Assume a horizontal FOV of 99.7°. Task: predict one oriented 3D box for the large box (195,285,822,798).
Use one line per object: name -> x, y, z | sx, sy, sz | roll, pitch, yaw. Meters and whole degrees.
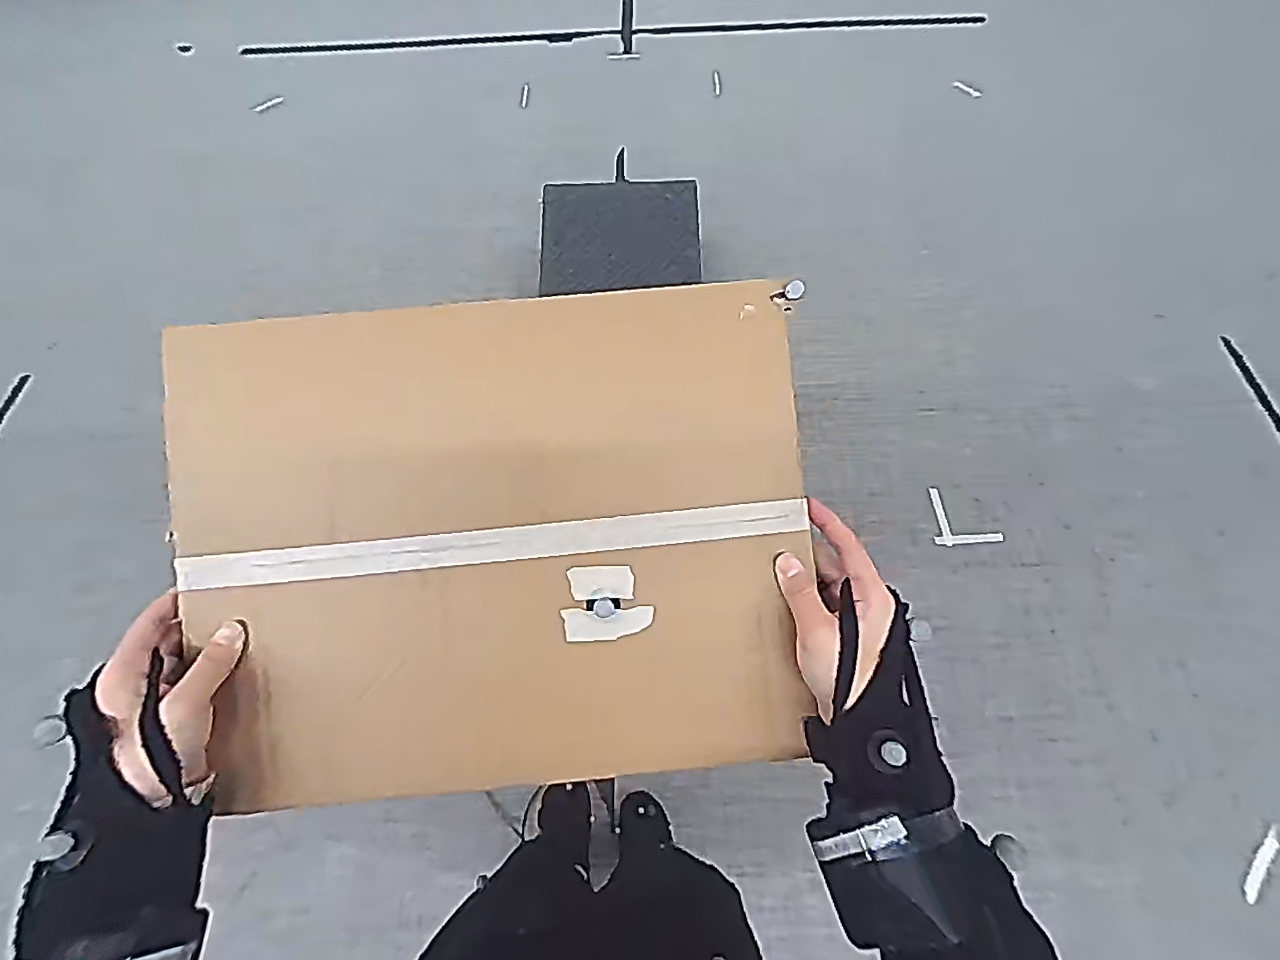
large box -> -0.093, 0.042, 0.512 | 0.408, 0.320, 0.320 | -5, 89, -2
